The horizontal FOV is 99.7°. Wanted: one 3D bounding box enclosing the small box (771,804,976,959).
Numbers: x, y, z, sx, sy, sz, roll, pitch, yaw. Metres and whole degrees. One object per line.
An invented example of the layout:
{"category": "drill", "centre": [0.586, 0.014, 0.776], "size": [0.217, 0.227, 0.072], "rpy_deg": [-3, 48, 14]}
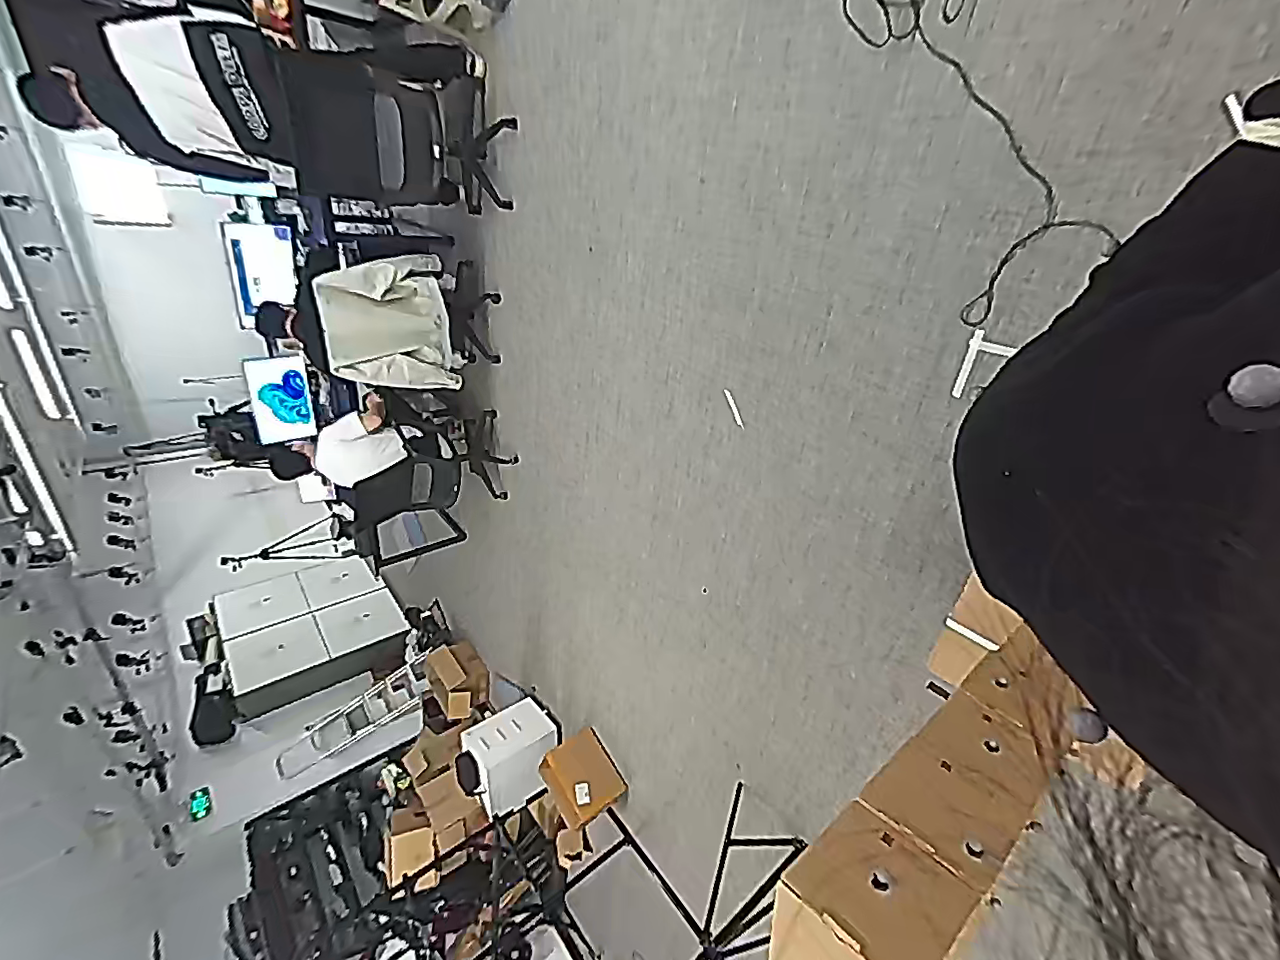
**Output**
{"category": "small box", "centre": [0.288, 0.556, 0.672], "size": [0.168, 0.176, 0.179], "rpy_deg": [23, 119, 47]}

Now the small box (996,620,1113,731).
{"category": "small box", "centre": [0.789, 0.414, 1.069], "size": [0.168, 0.176, 0.179], "rpy_deg": [32, 126, 41]}

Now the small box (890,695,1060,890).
{"category": "small box", "centre": [0.539, 0.487, 0.871], "size": [0.168, 0.176, 0.179], "rpy_deg": [27, 123, 45]}

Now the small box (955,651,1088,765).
{"category": "small box", "centre": [0.663, 0.444, 0.972], "size": [0.168, 0.176, 0.179], "rpy_deg": [31, 127, 43]}
